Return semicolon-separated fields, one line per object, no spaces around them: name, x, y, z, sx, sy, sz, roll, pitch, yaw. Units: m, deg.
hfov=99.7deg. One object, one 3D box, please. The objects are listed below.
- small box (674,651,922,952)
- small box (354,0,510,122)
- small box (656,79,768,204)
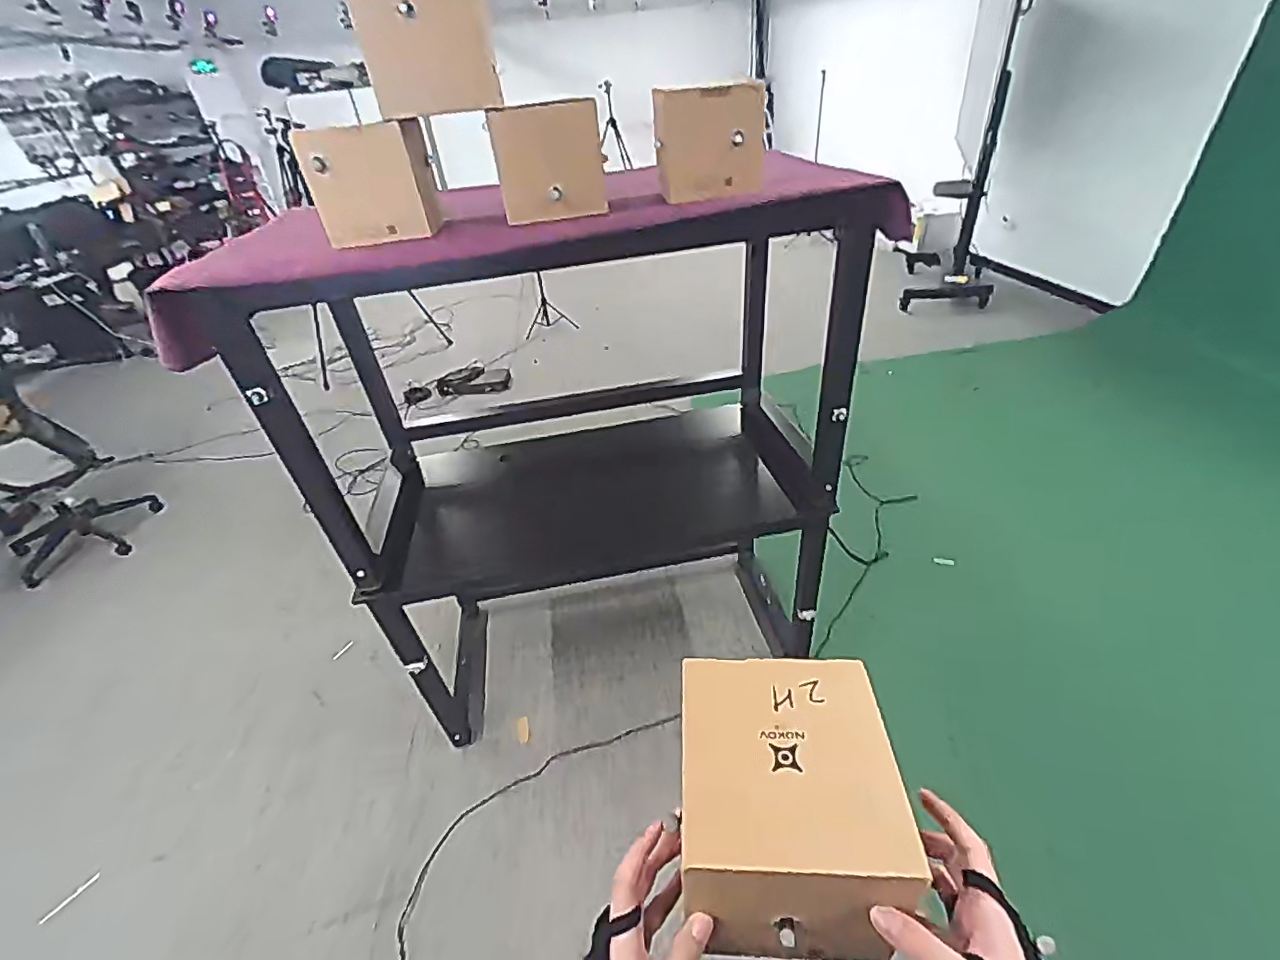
small box;0.119;0.275;0.472;0.168;0.176;0.179;-1;34;7
small box;-0.311;-0.661;0.835;0.179;0.176;0.168;-8;35;-3
small box;0.124;-0.598;0.961;0.168;0.176;0.179;-7;36;-1
